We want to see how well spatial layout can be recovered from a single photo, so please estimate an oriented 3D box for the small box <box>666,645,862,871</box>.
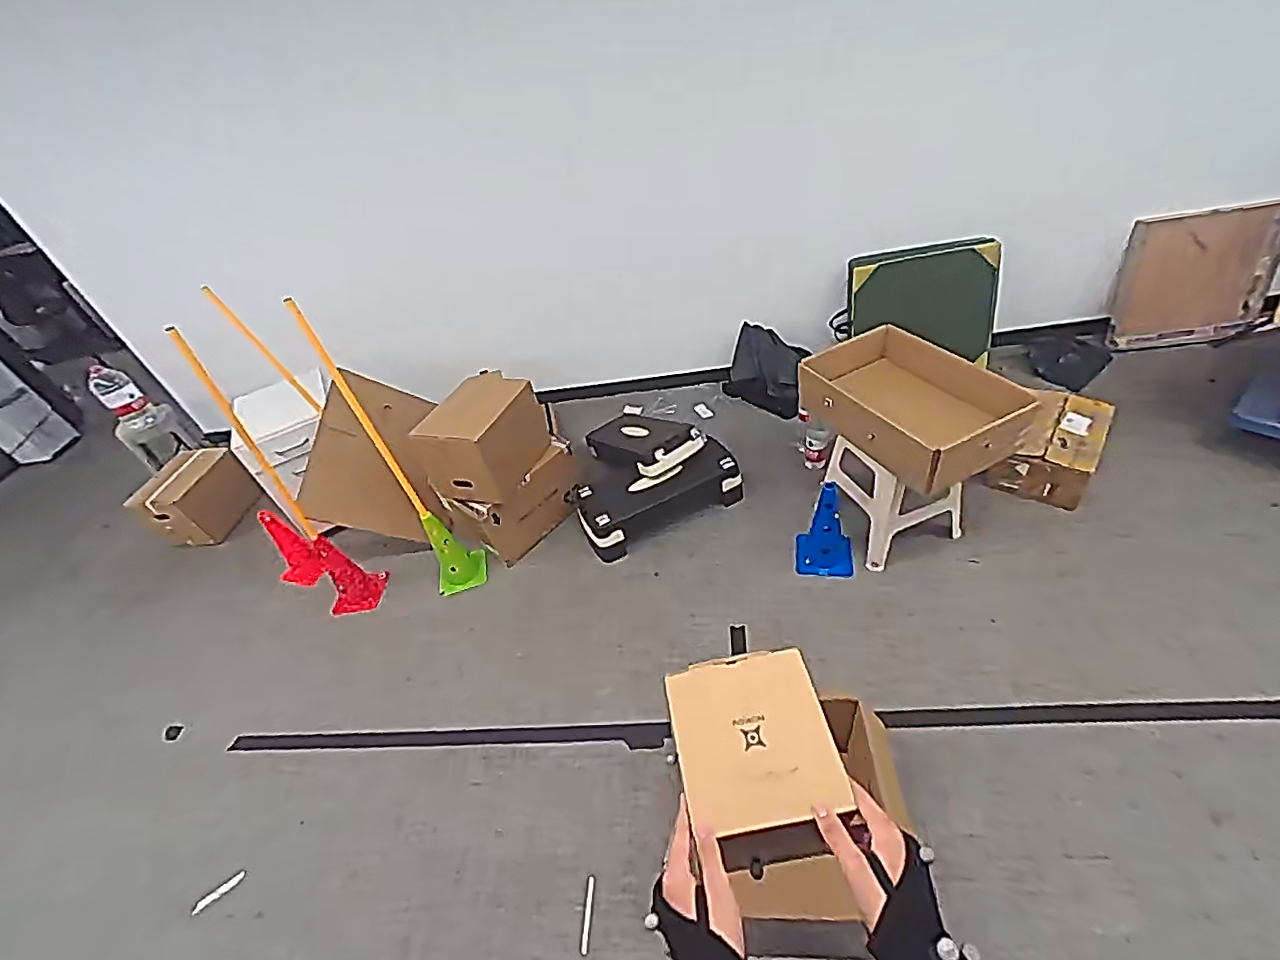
[{"bbox_3d":[0.131,0.326,0.635,0.168,0.176,0.179,-13,46,-2],"label":"small box"}]
